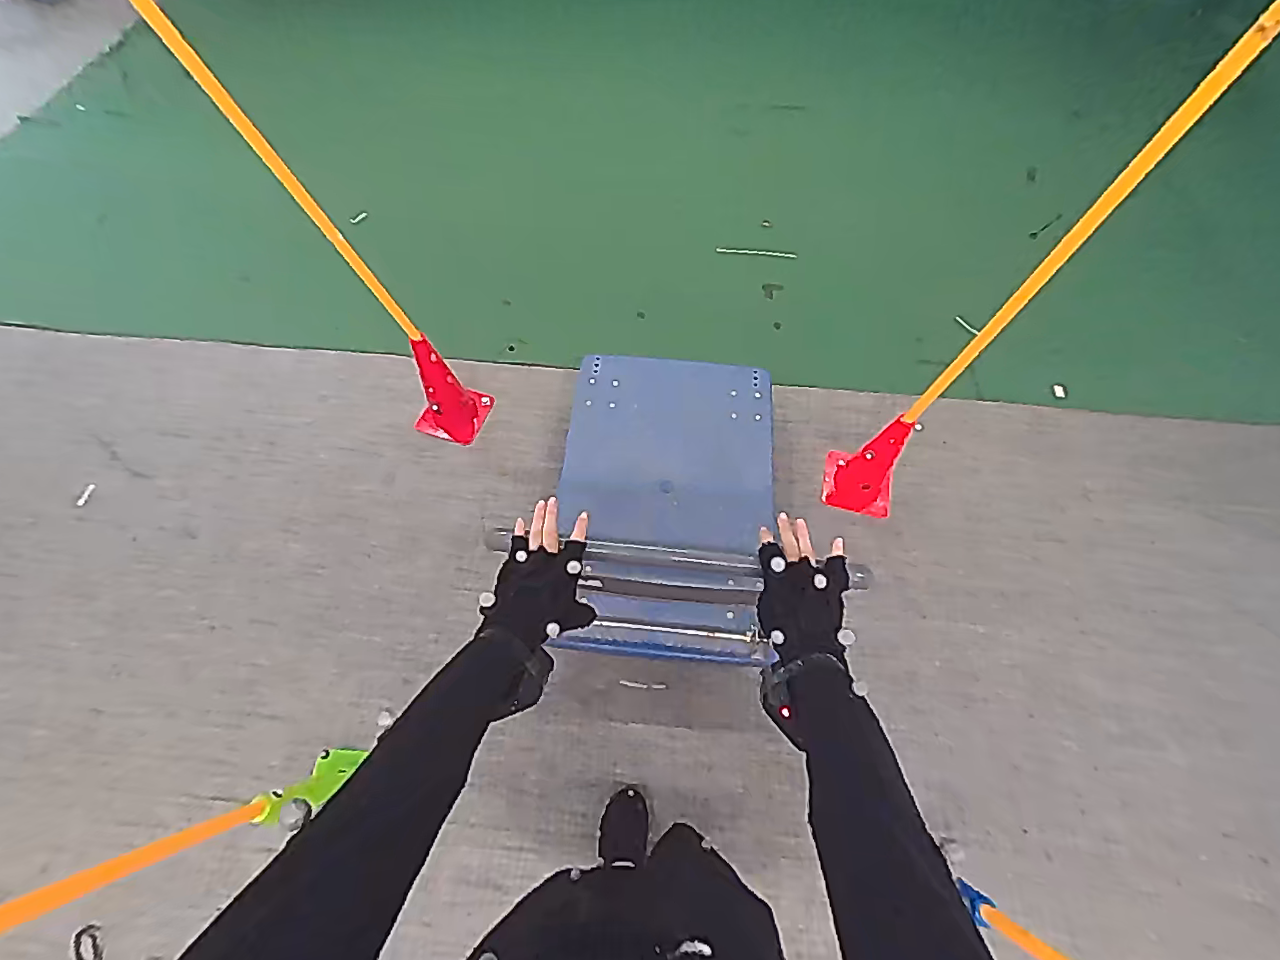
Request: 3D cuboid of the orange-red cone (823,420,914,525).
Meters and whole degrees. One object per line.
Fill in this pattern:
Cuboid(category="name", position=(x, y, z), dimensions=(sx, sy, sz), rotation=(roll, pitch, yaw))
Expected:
Cuboid(category="orange-red cone", position=(0.667, -0.049, 1.504), dimensions=(0.198, 0.360, 0.199), rotation=(14, 63, 8))
